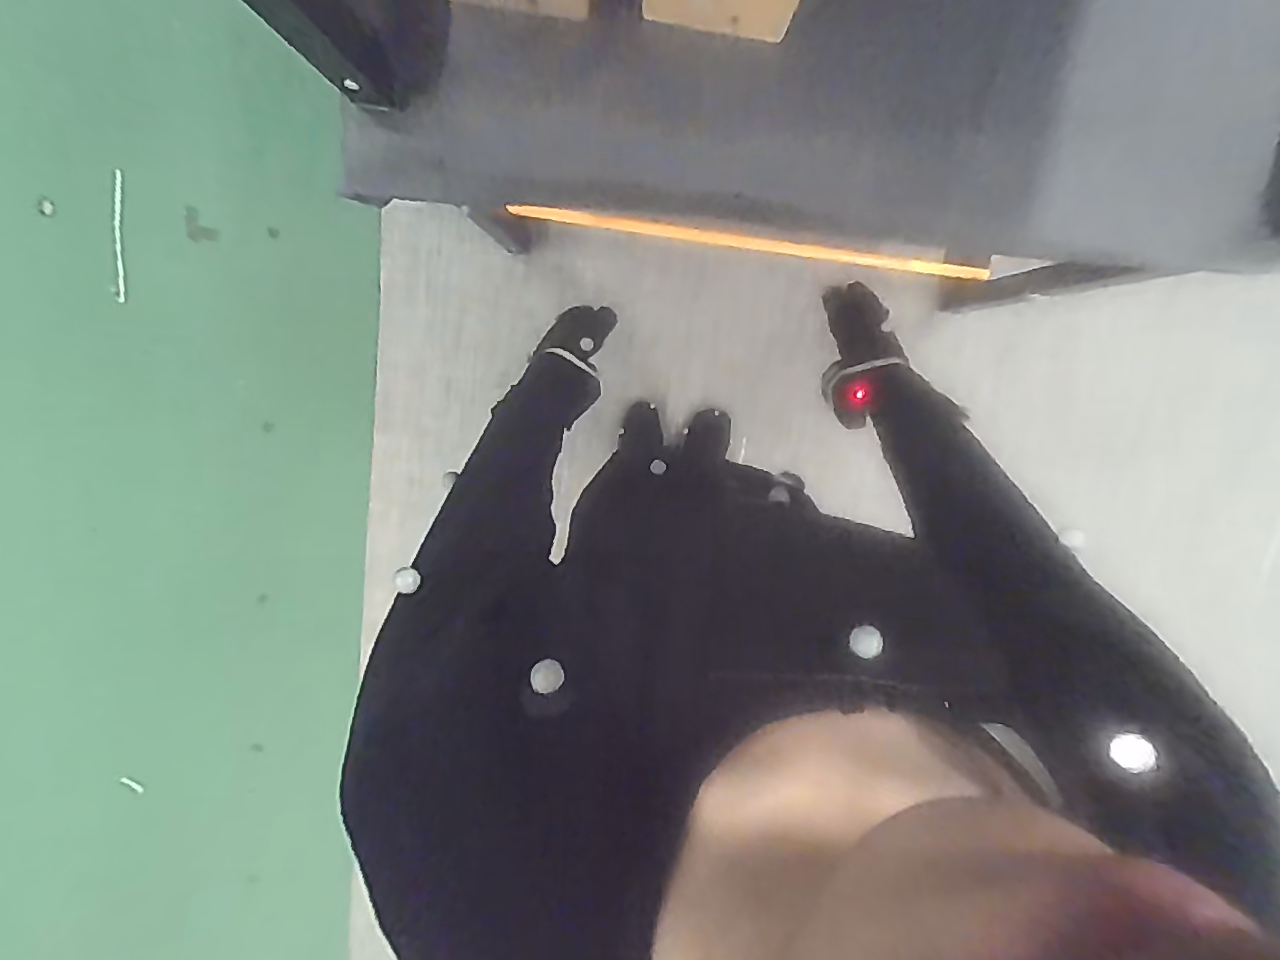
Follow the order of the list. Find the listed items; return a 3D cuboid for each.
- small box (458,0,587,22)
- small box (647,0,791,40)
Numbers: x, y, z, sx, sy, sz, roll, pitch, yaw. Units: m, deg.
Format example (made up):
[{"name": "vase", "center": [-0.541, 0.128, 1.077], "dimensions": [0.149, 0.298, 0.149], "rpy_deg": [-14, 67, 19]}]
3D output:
[{"name": "small box", "center": [-0.132, -0.616, 0.537], "dimensions": [0.168, 0.176, 0.179], "rpy_deg": [7, 101, -2]}, {"name": "small box", "center": [0.094, -0.594, 0.544], "dimensions": [0.168, 0.176, 0.179], "rpy_deg": [8, 100, -2]}]
